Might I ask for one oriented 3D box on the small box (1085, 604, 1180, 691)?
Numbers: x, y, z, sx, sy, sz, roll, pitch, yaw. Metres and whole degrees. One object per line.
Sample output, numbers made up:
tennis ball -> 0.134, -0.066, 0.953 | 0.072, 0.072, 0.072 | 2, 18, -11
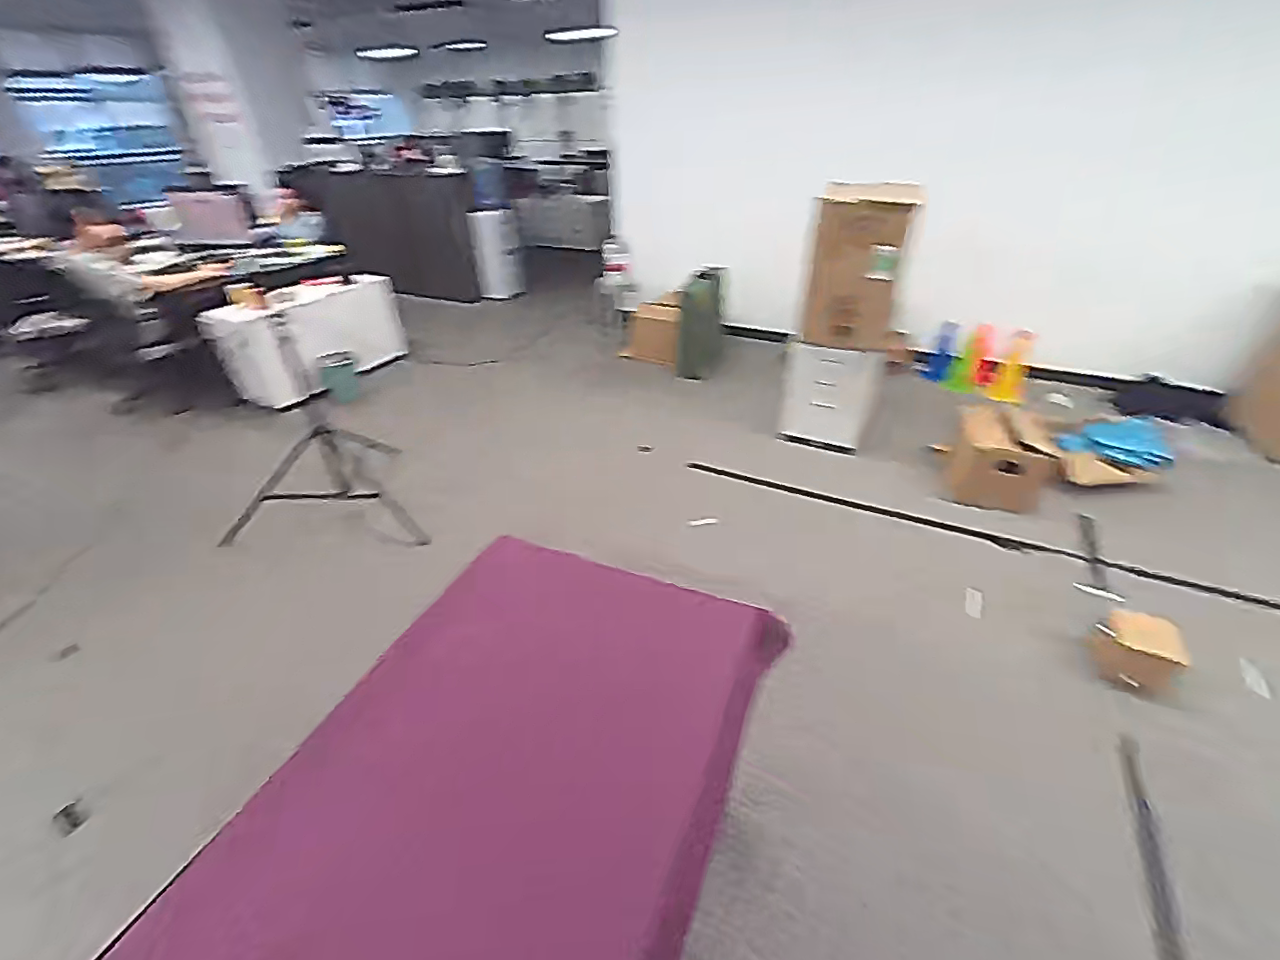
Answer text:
small box -> 1.576, 0.539, 1.744 | 0.168, 0.176, 0.179 | 14, 38, 23
